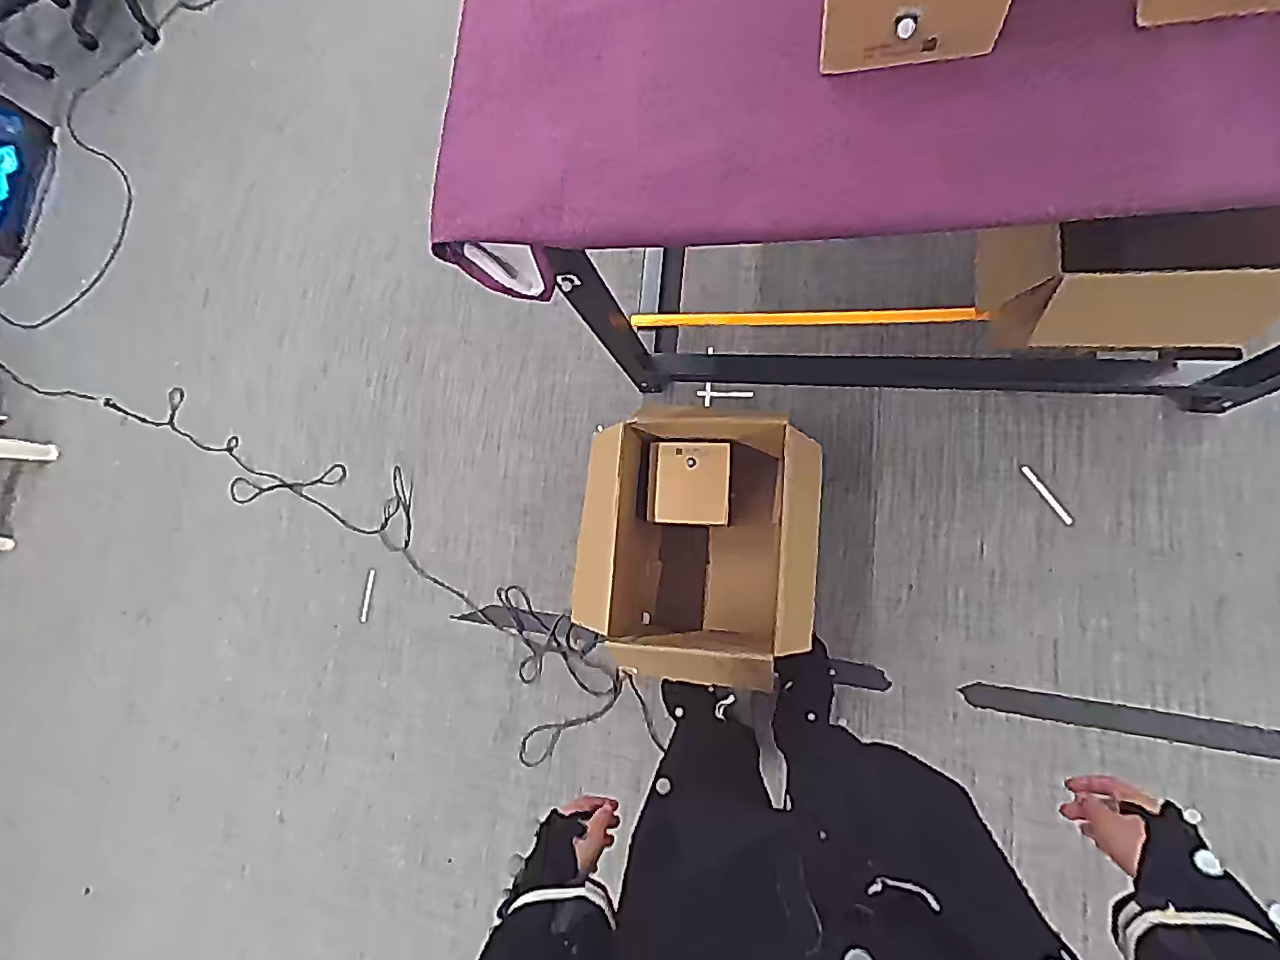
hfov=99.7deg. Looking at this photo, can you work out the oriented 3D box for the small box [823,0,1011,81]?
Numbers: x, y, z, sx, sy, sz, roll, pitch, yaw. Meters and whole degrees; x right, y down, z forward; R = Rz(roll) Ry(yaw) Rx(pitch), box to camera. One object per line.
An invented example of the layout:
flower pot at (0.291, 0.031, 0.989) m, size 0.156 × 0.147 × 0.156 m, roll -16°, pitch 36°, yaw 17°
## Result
small box at (0.268, -0.530, 0.511) m, size 0.168 × 0.176 × 0.179 m, roll 4°, pitch 81°, yaw 16°
